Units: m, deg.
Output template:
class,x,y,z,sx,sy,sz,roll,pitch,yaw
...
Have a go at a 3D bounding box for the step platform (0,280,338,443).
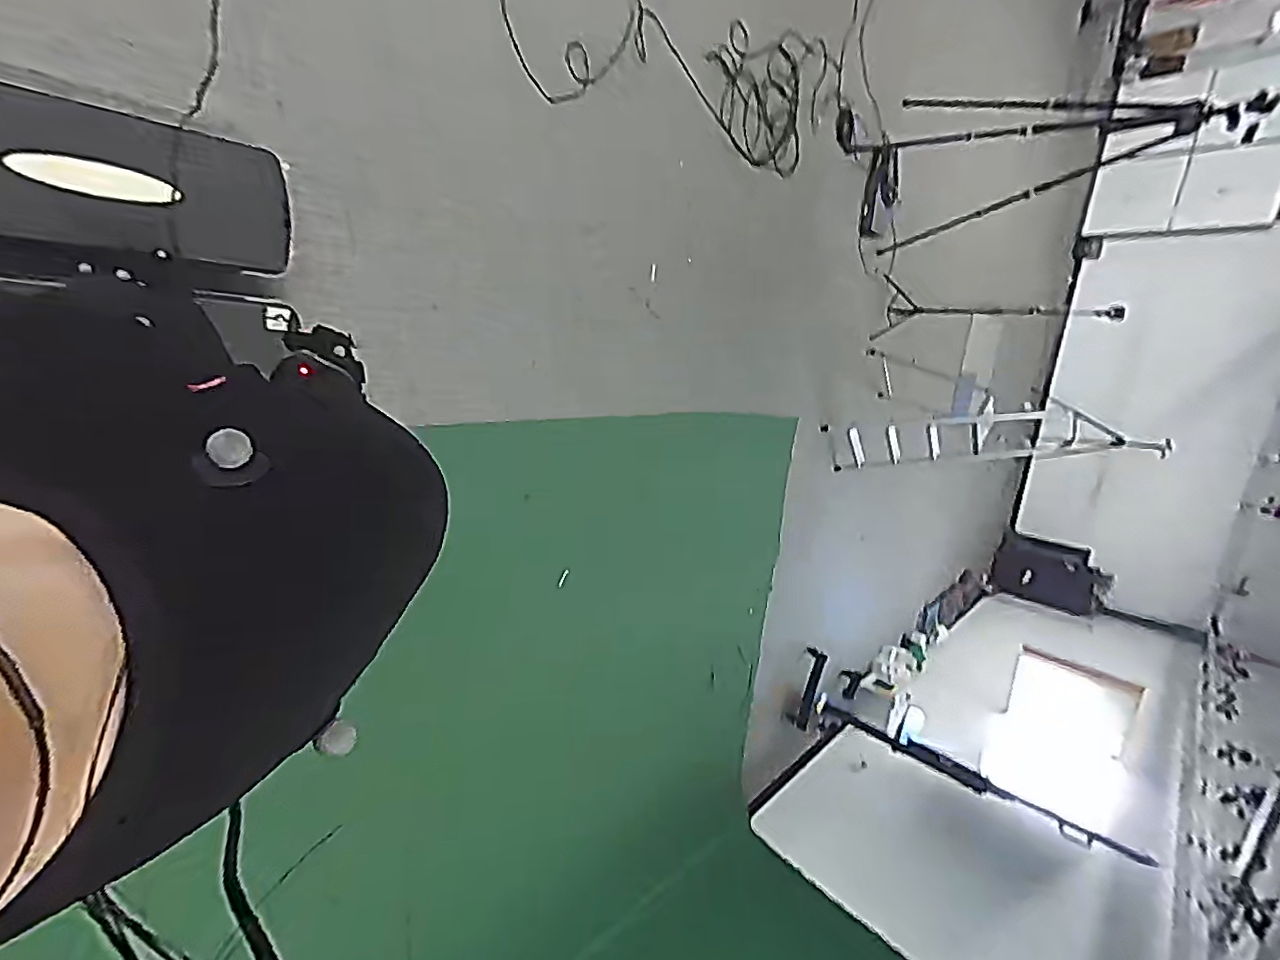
class,x,y,z,sx,sy,sz,roll,pitch,yaw
step platform,-0.972,-0.212,1.013,0.684,0.204,0.286,-9,109,-45
